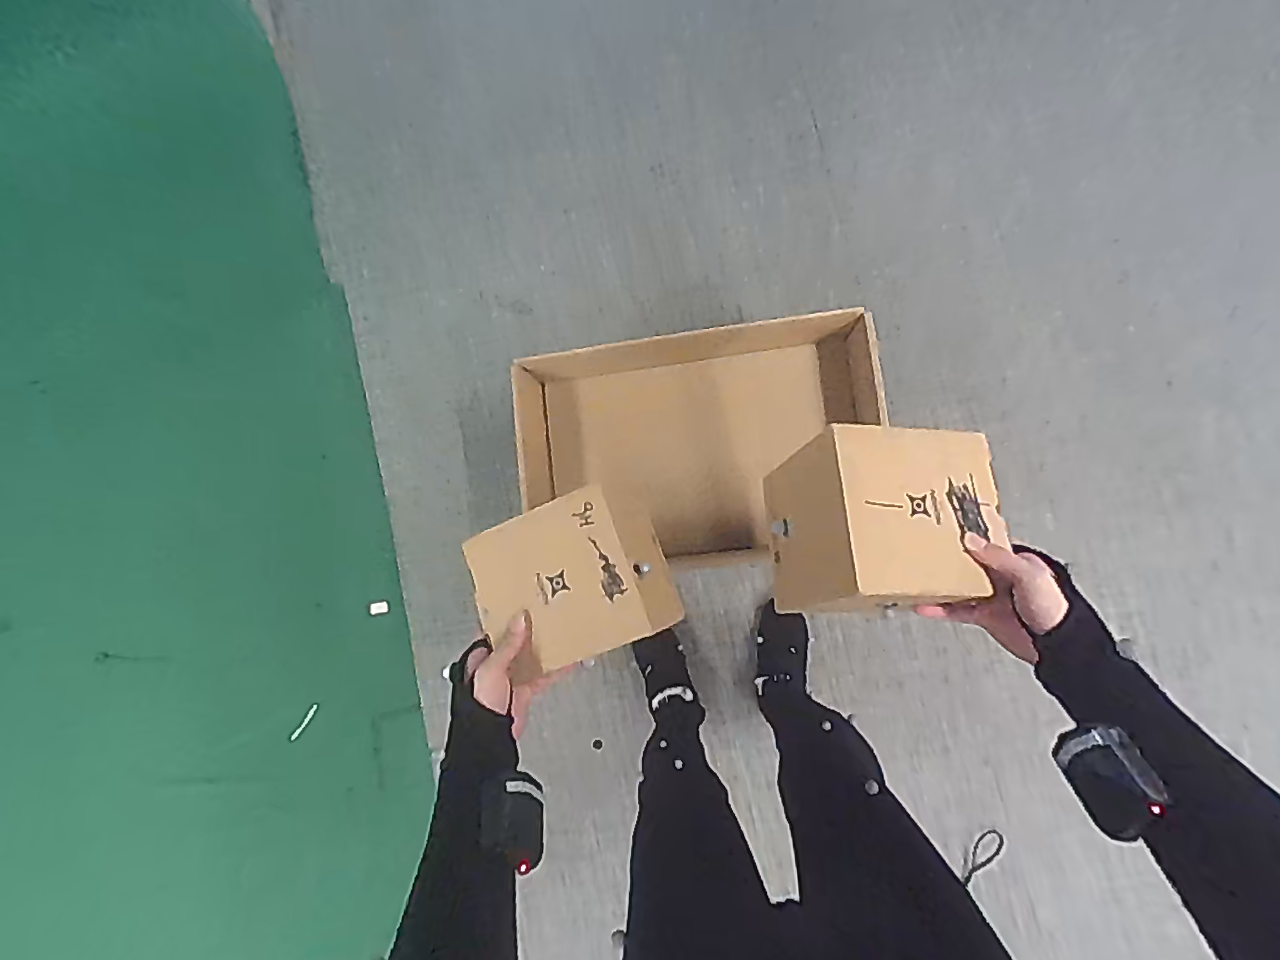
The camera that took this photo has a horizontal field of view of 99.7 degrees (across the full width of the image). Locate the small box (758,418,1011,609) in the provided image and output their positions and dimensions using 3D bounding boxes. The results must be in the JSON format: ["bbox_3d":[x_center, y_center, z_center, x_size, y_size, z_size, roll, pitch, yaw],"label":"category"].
[{"bbox_3d":[0.248,0.047,0.590,0.179,0.176,0.168,2,70,-10],"label":"small box"}]

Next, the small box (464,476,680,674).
[{"bbox_3d":[-0.072,0.113,0.645,0.179,0.176,0.168,-23,76,12],"label":"small box"}]
